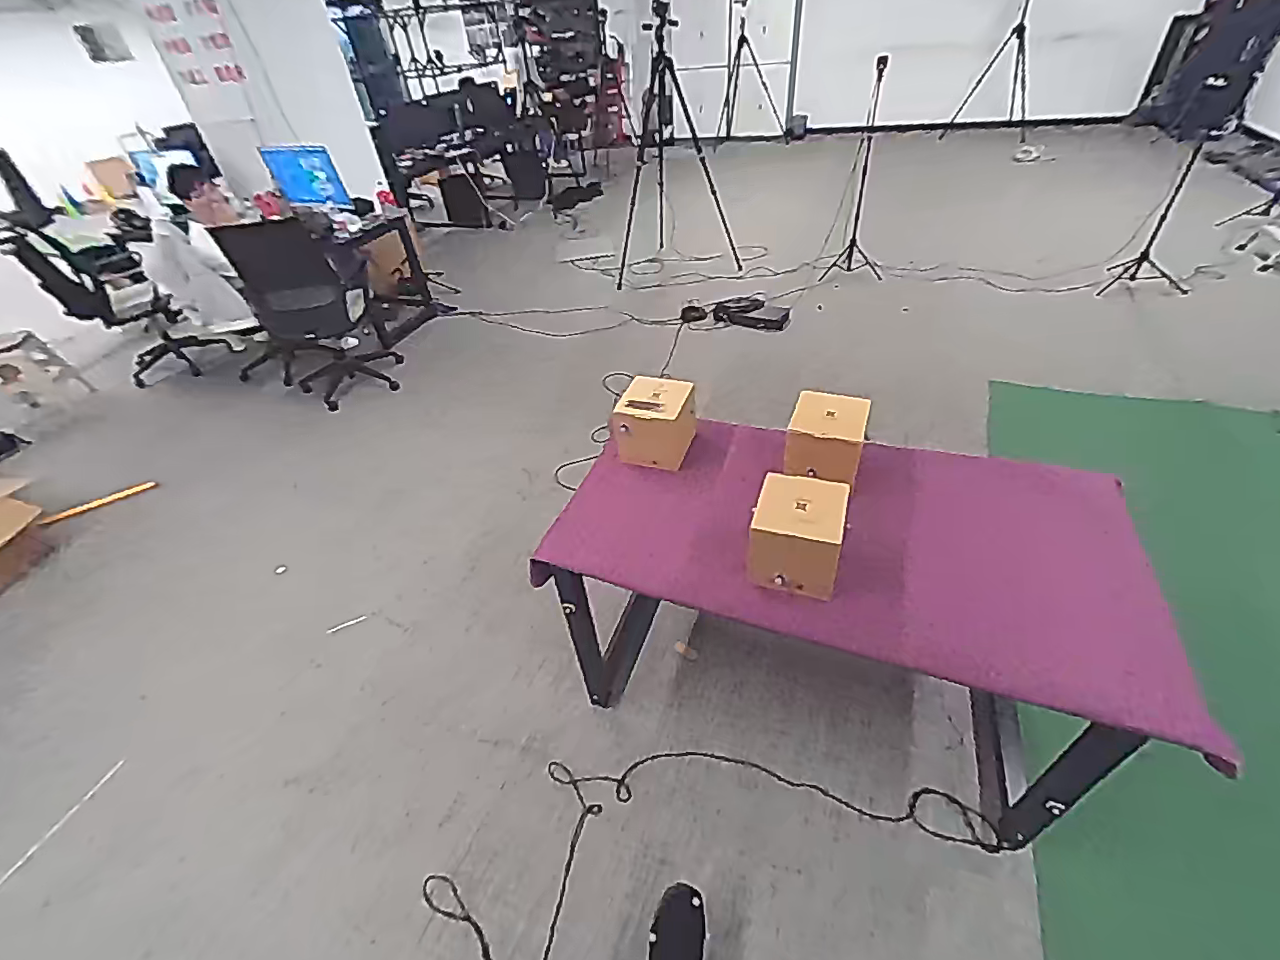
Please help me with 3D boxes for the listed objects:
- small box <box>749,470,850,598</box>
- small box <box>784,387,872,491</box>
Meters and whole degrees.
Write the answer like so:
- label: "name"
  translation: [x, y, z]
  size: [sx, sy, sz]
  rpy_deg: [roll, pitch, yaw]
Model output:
- label: "small box"
  translation: [0.319, 0.107, 1.097]
  size: [0.168, 0.176, 0.179]
  rpy_deg: [10, 43, 21]
- label: "small box"
  translation: [0.453, -0.099, 1.312]
  size: [0.168, 0.176, 0.179]
  rpy_deg: [12, 47, 21]
